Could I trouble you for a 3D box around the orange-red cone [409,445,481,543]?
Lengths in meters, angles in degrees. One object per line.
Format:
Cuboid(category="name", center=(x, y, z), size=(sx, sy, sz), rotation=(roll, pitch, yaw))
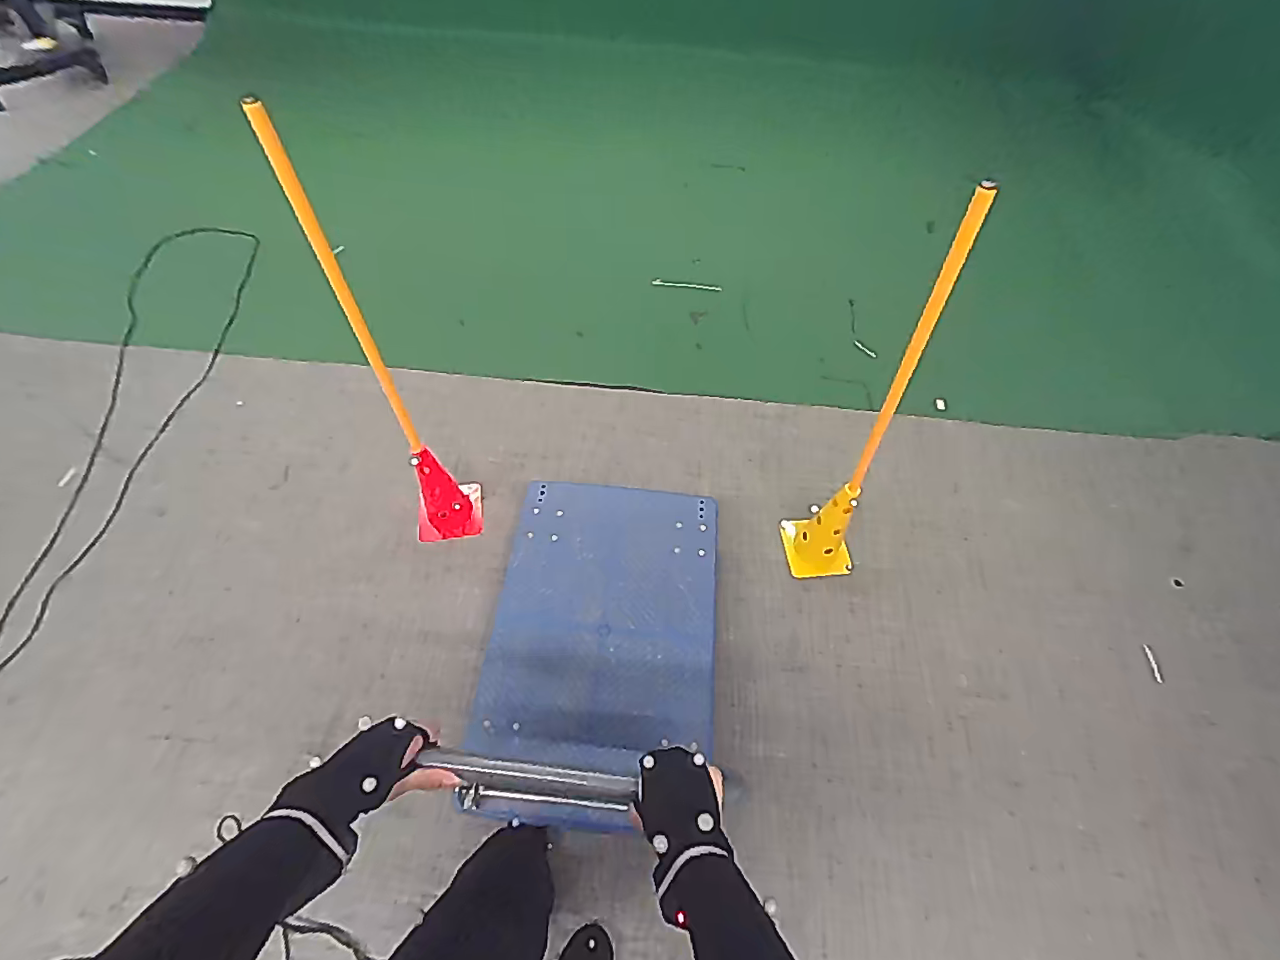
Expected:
Cuboid(category="orange-red cone", center=(-0.614, 0.017, 1.612), size=(0.199, 0.360, 0.198), rotation=(-7, 57, -6))
